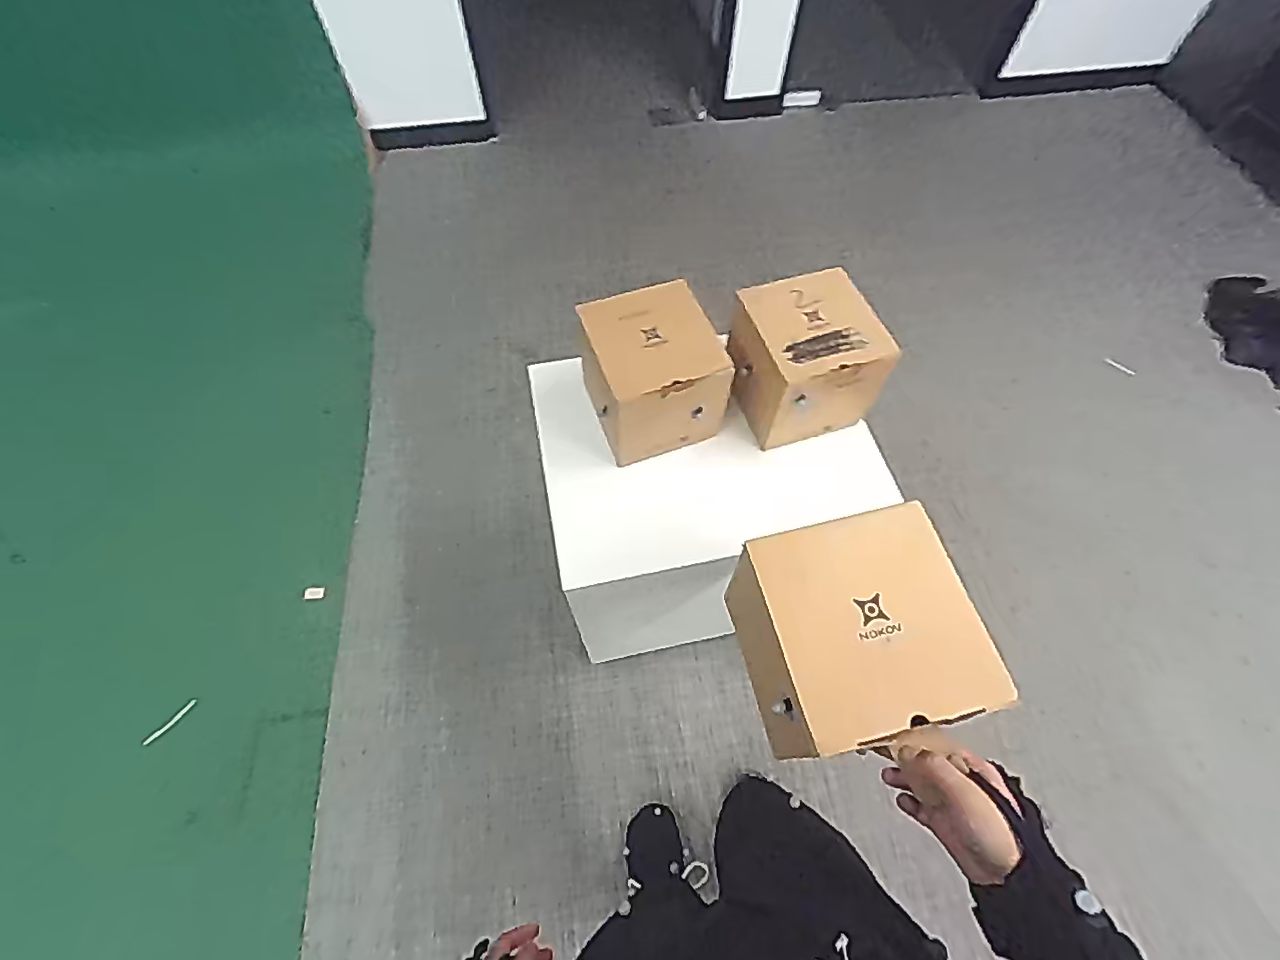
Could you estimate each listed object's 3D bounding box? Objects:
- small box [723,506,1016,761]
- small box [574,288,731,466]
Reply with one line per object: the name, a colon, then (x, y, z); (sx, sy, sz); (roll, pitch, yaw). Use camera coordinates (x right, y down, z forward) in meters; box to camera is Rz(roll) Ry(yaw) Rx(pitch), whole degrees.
small box: (0.187, 0.150, 0.509); (0.168, 0.176, 0.179); (-13, 63, -6)
small box: (0.013, -0.139, 0.784); (0.168, 0.176, 0.179); (-18, 63, -12)
